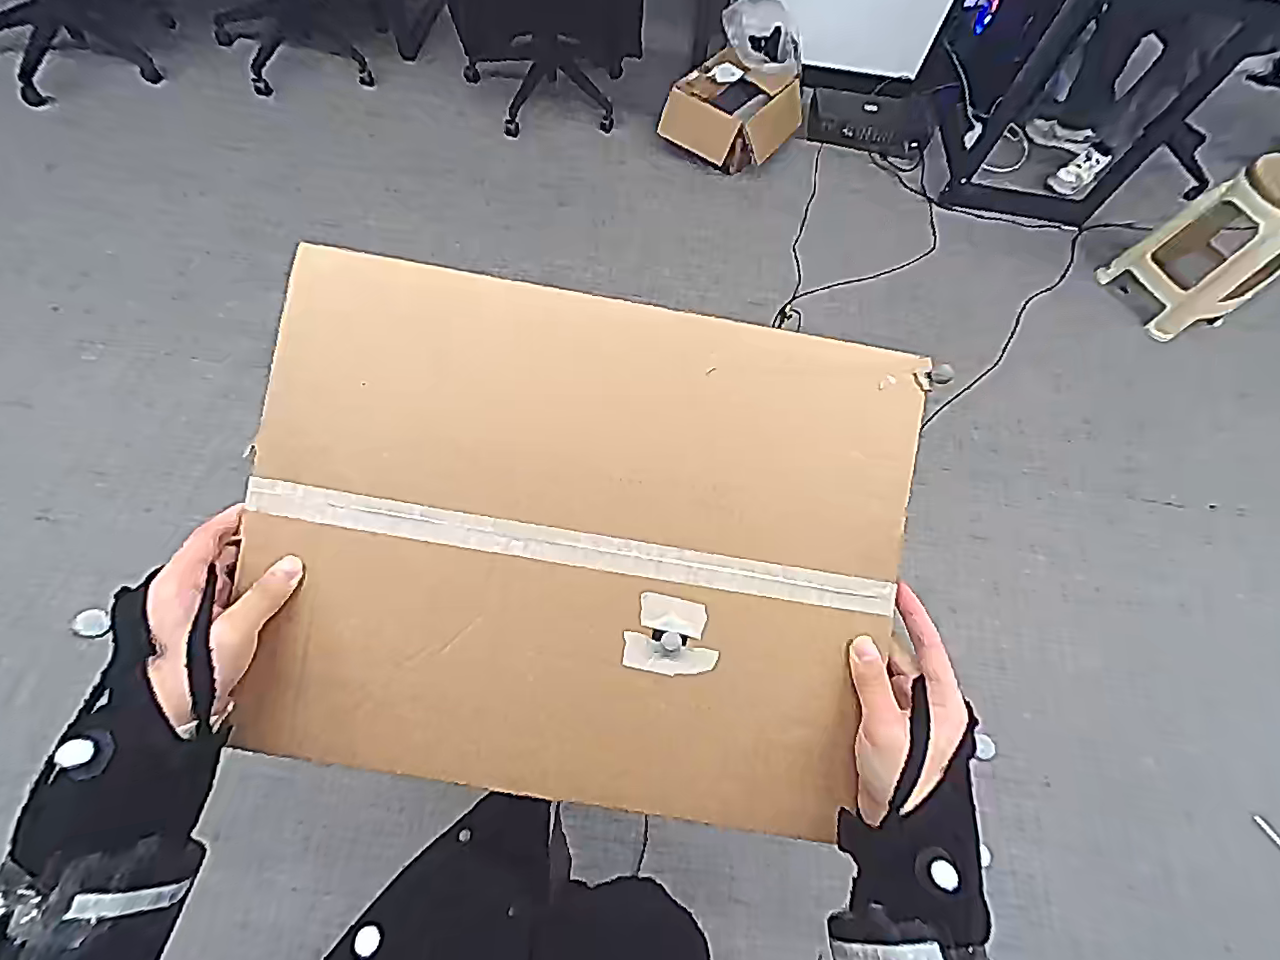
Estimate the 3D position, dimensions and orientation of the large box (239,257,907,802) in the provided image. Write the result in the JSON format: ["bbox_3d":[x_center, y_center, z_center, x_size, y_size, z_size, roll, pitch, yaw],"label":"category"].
[{"bbox_3d":[-0.044,0.037,0.502,0.408,0.320,0.320,10,89,-2],"label":"large box"}]
